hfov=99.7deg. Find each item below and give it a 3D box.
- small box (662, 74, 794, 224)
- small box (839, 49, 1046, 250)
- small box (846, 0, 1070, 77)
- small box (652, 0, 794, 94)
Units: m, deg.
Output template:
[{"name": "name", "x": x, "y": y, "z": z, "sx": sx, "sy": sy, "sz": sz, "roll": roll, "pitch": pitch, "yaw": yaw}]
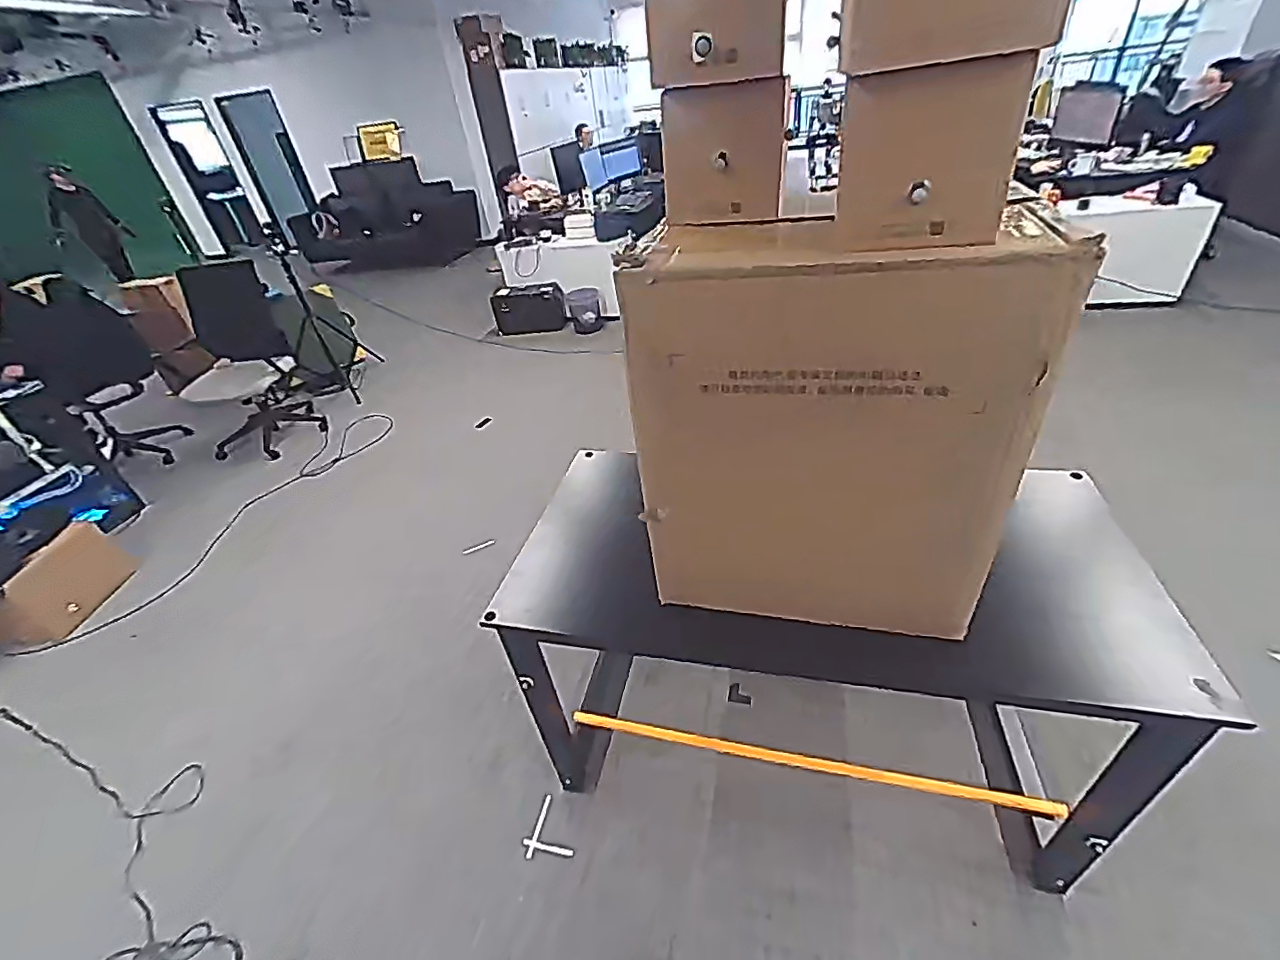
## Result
[{"name": "small box", "x": 0.137, "y": -0.485, "z": 0.801, "sx": 0.168, "sy": 0.176, "sz": 0.179, "roll": 5, "pitch": 38, "yaw": 15}, {"name": "small box", "x": 0.320, "y": -0.371, "z": 0.615, "sx": 0.168, "sy": 0.176, "sz": 0.179, "roll": 4, "pitch": 38, "yaw": 18}, {"name": "small box", "x": 0.289, "y": -0.485, "z": 0.496, "sx": 0.179, "sy": 0.176, "sz": 0.168, "roll": 2, "pitch": 38, "yaw": 14}, {"name": "small box", "x": 0.108, "y": -0.597, "z": 0.681, "sx": 0.168, "sy": 0.176, "sz": 0.179, "roll": 2, "pitch": 37, "yaw": 13}]
